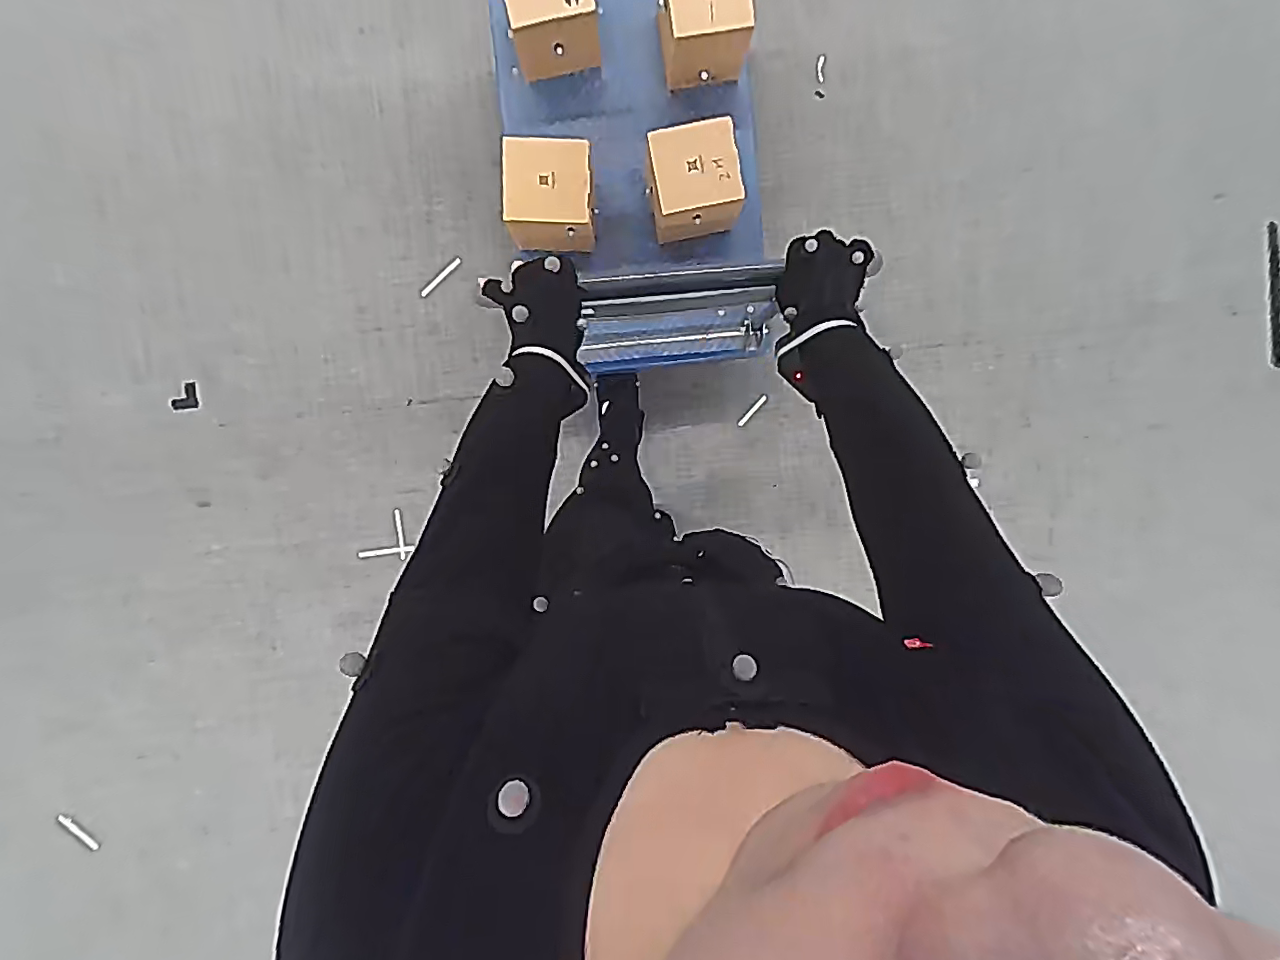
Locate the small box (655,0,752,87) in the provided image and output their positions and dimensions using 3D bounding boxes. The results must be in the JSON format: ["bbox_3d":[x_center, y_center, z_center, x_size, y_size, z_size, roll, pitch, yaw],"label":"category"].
[{"bbox_3d":[0.126,-0.978,1.136,0.168,0.176,0.179,-9,96,0],"label":"small box"}]

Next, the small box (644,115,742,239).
[{"bbox_3d":[0.107,-0.640,1.164,0.179,0.176,0.168,-11,95,0],"label":"small box"}]

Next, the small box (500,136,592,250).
[{"bbox_3d":[-0.196,-0.607,1.162,0.179,0.176,0.168,0,94,-3],"label":"small box"}]
